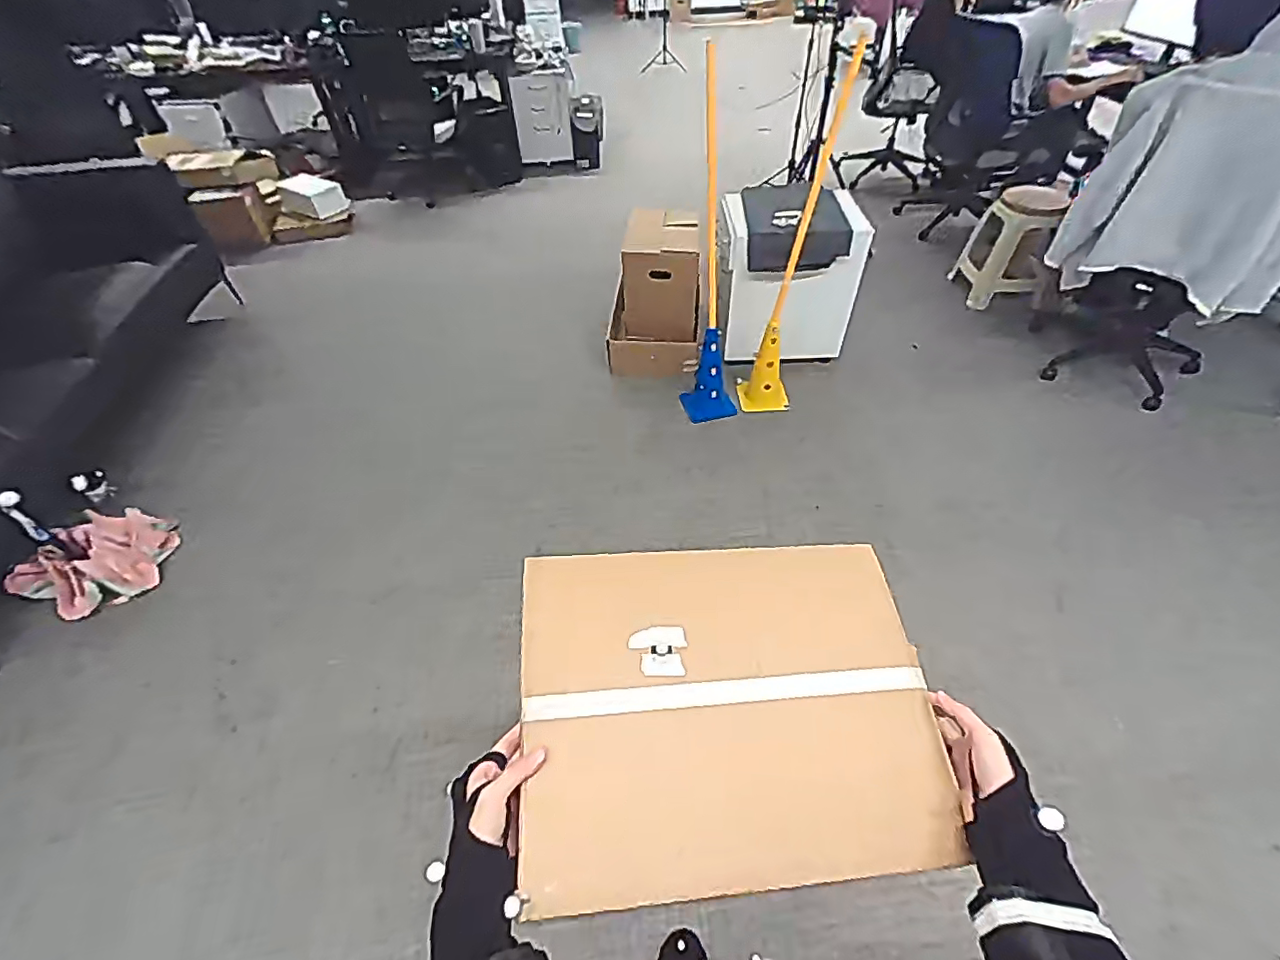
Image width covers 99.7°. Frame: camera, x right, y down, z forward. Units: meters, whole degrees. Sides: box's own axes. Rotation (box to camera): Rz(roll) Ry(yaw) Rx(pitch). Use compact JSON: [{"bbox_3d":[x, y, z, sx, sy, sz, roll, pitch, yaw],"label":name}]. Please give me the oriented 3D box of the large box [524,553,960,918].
[{"bbox_3d":[0.076,0.302,0.674,0.408,0.320,0.320,-1,58,-7],"label":"large box"}]
